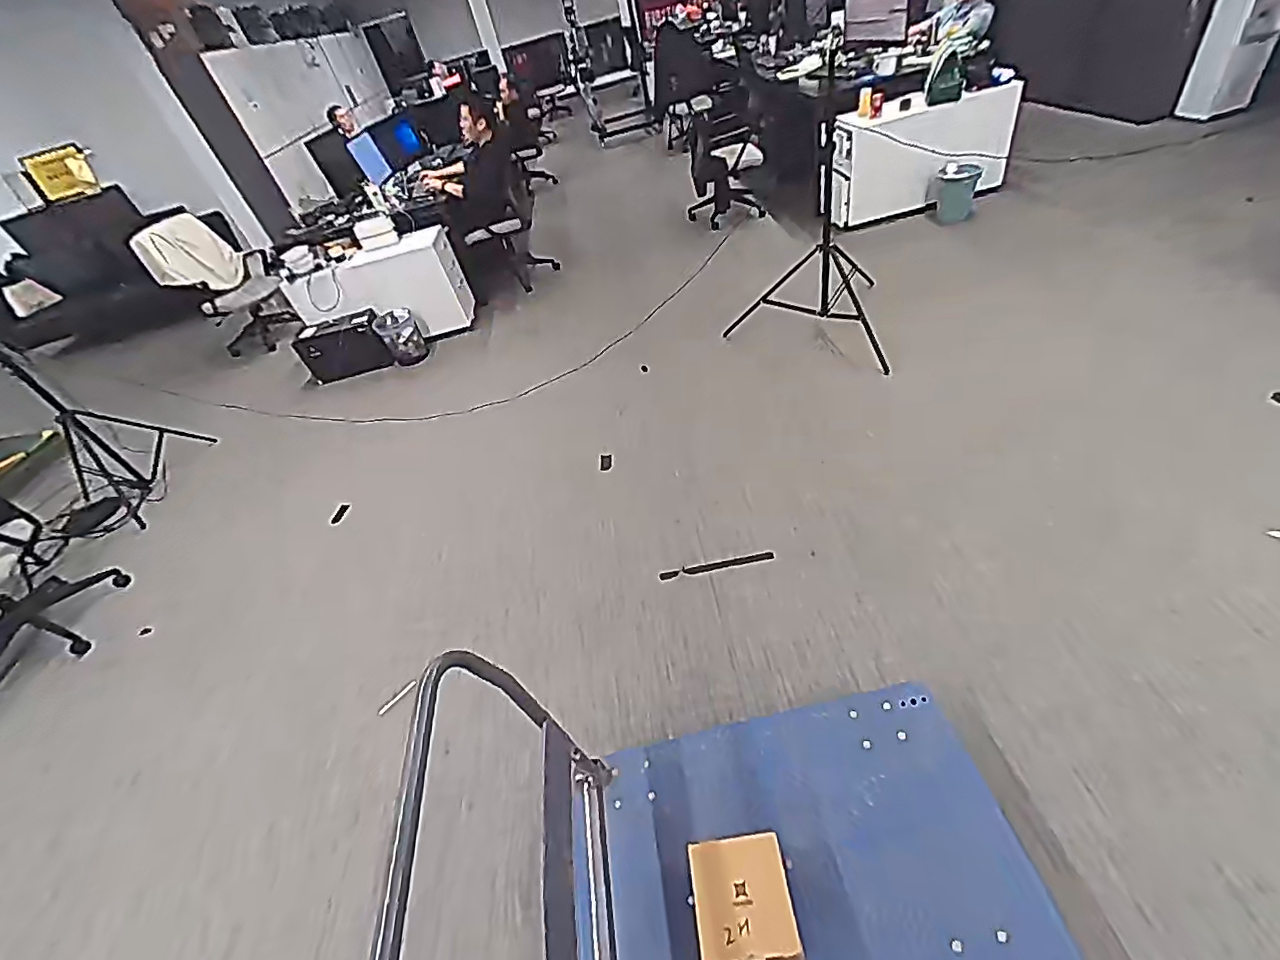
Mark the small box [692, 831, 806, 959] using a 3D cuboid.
[{"bbox_3d":[0.196,0.772,0.985,0.168,0.176,0.179,-12,42,5],"label":"small box"}]
